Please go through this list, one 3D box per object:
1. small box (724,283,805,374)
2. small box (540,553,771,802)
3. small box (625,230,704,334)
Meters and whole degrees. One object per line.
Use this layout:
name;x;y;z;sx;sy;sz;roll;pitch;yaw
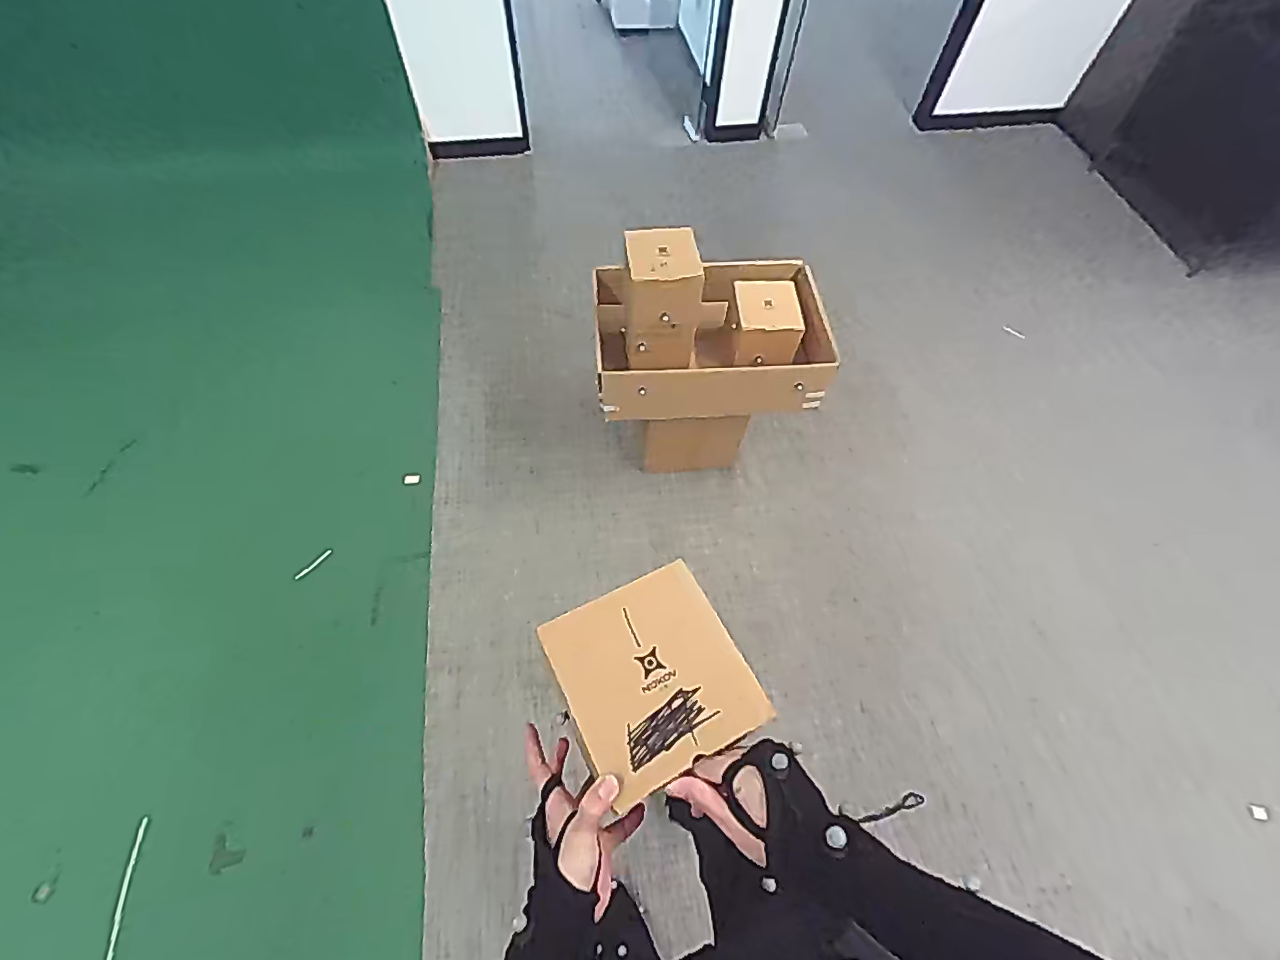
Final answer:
small box;0.333;-0.413;1.480;0.168;0.176;0.179;-1;61;-4
small box;0.004;0.208;0.574;0.168;0.176;0.179;-21;67;-18
small box;0.052;-0.478;1.313;0.168;0.176;0.179;-5;61;-5
